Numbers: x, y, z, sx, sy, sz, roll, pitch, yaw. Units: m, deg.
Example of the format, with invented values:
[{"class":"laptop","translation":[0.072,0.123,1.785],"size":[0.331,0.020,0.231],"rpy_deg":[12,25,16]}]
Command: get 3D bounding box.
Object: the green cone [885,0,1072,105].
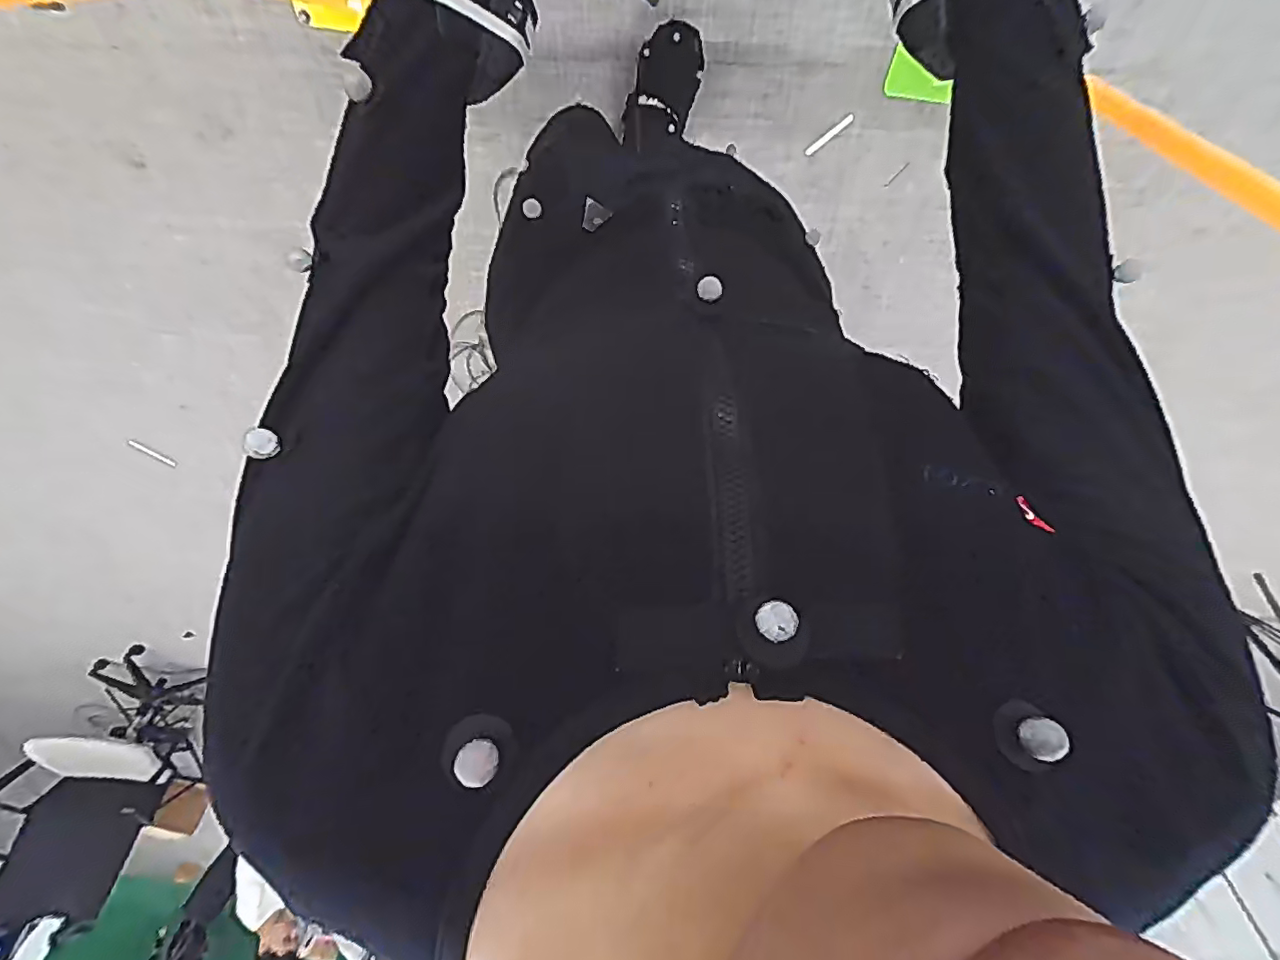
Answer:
[{"class":"green cone","translation":[0.597,-0.720,0.910],"size":[0.202,0.368,0.200],"rpy_deg":[3,135,-5]}]
